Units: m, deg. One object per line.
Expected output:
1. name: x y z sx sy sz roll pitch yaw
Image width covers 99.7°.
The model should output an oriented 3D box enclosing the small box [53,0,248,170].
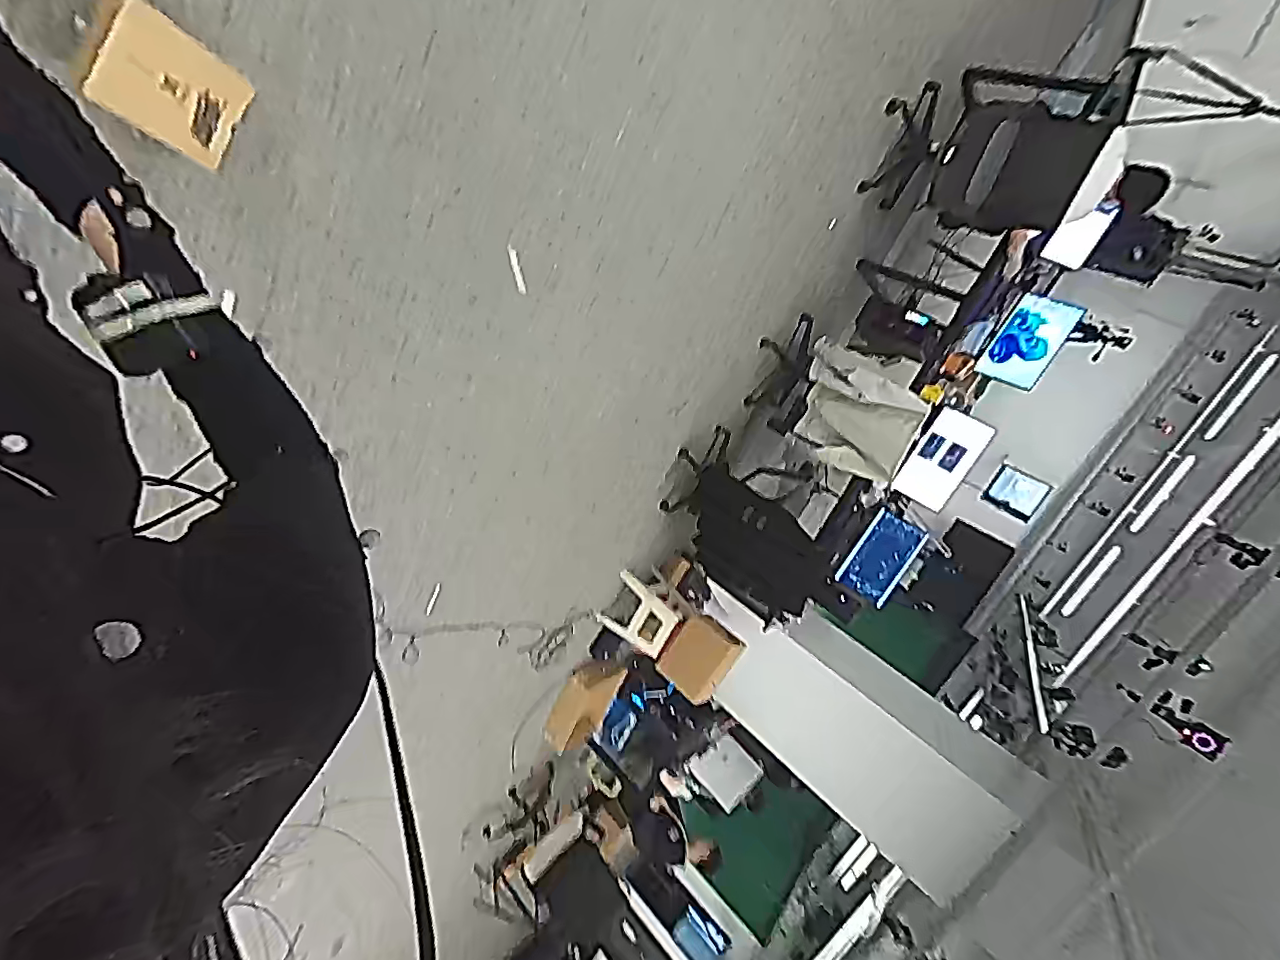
1. small box: -0.807 -0.661 0.894 0.168 0.176 0.179 -57 150 4
